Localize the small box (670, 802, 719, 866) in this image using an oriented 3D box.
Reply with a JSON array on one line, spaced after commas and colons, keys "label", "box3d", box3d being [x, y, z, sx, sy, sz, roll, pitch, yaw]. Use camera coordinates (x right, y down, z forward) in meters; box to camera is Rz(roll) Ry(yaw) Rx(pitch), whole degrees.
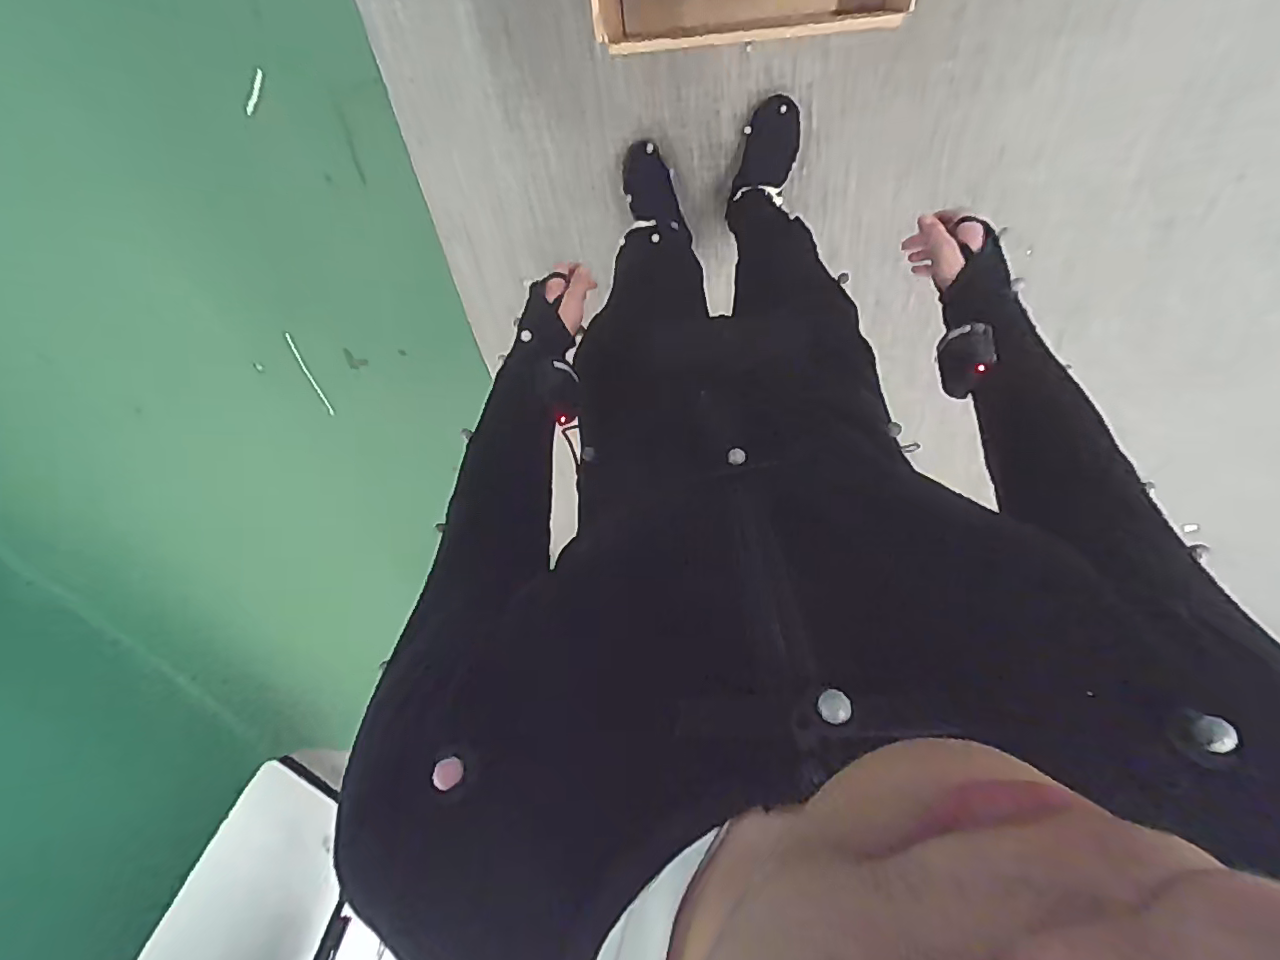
[{"label": "small box", "box3d": [0.200, 1.270, 1.961, 0.168, 0.176, 0.179, 2, 131, 10]}]
